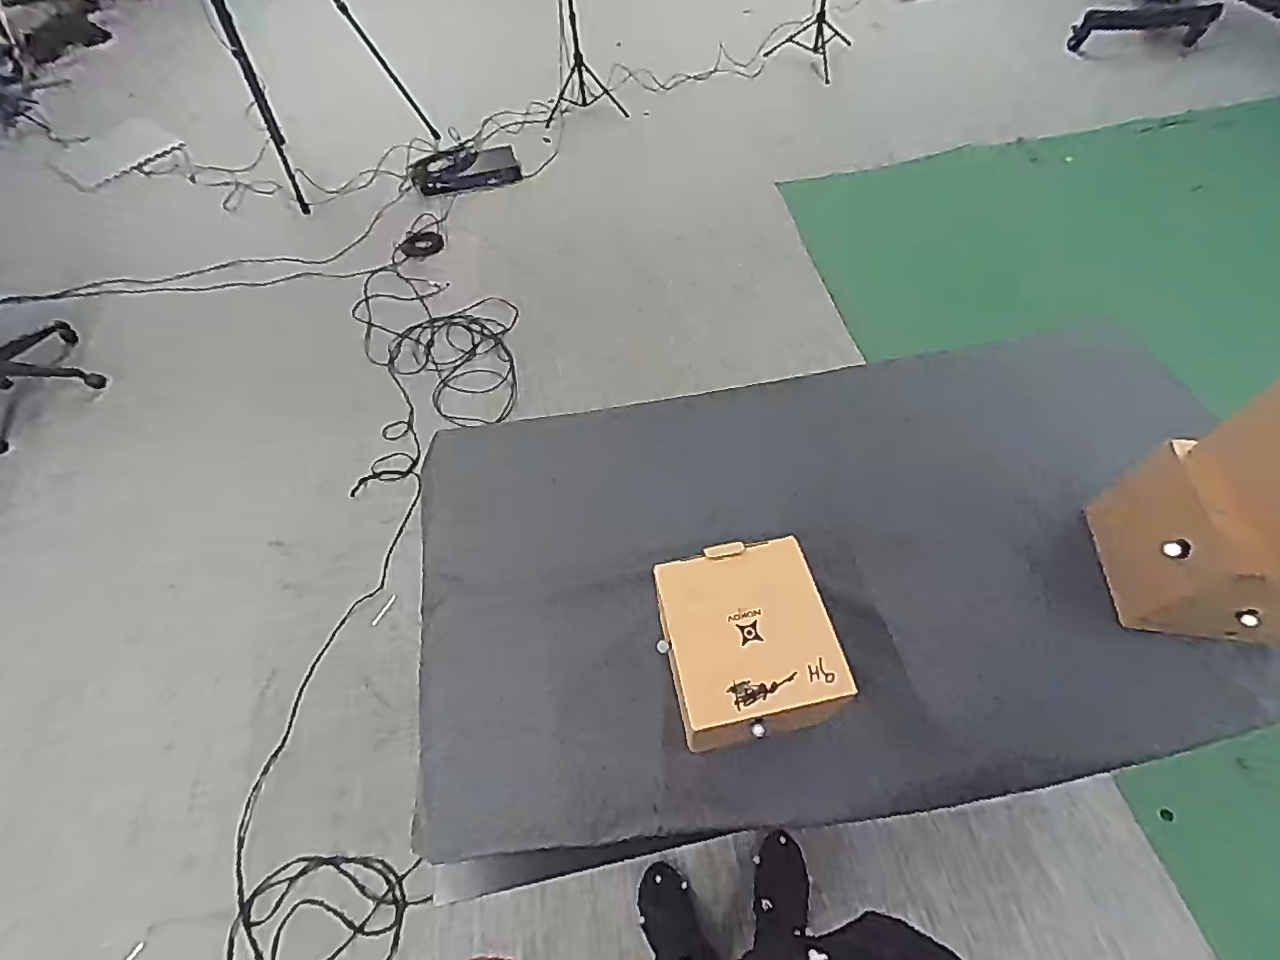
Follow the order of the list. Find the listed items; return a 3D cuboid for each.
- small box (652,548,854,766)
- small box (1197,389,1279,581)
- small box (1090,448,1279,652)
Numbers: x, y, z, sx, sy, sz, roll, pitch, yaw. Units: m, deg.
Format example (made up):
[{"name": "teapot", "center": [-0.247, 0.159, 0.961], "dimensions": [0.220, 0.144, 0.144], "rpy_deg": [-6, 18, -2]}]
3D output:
[{"name": "small box", "center": [0.112, 0.205, 0.614], "dimensions": [0.168, 0.176, 0.179], "rpy_deg": [-12, 56, -2]}, {"name": "small box", "center": [0.689, 0.003, 0.489], "dimensions": [0.168, 0.176, 0.179], "rpy_deg": [2, 56, 5]}, {"name": "small box", "center": [0.681, 0.086, 0.629], "dimensions": [0.168, 0.176, 0.179], "rpy_deg": [5, 56, 9]}]
